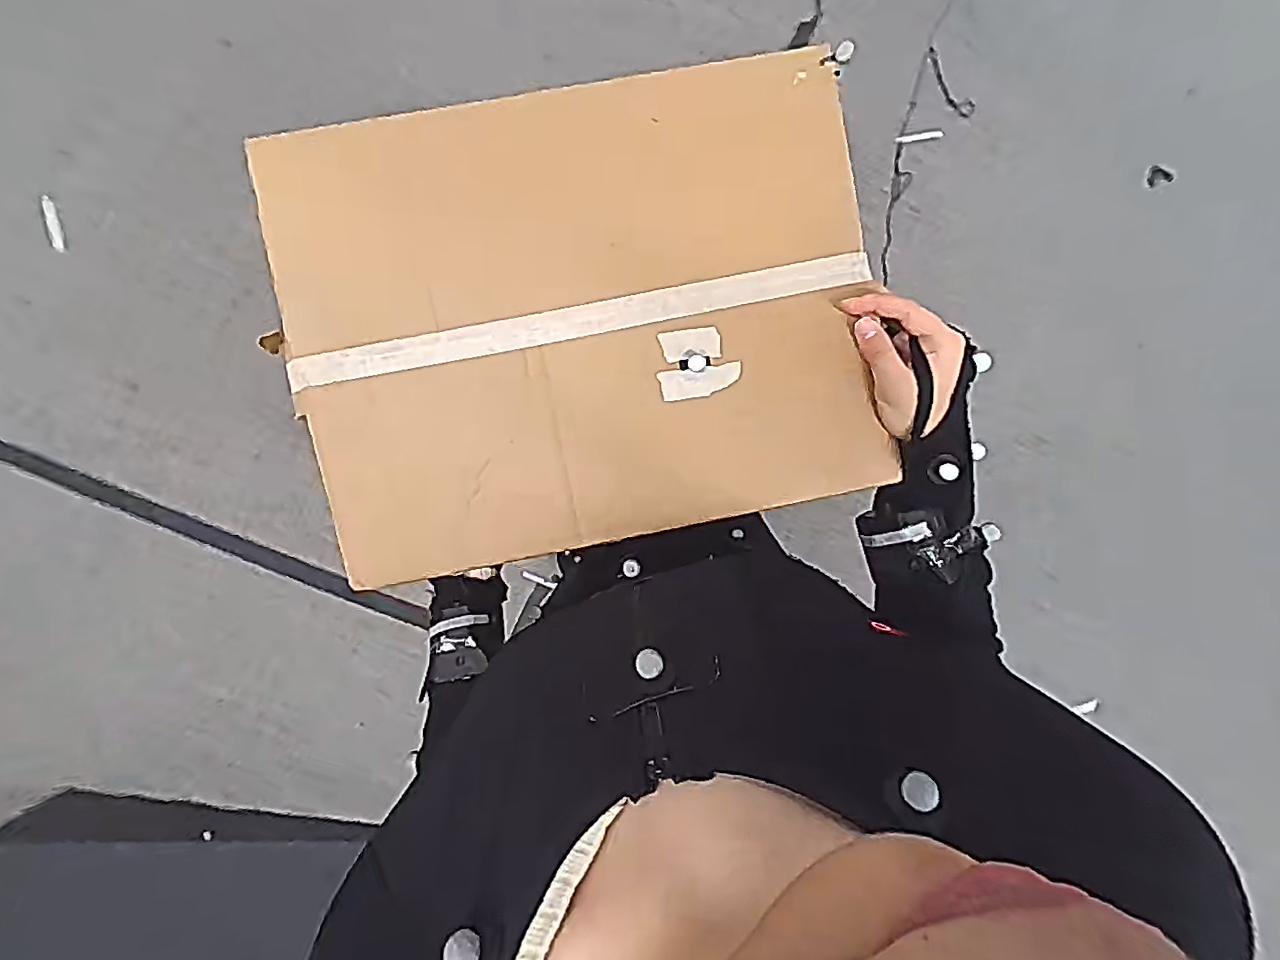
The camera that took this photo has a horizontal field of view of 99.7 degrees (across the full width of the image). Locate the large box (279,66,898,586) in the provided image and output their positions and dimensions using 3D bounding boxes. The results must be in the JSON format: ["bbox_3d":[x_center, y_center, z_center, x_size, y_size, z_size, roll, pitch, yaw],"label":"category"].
[{"bbox_3d":[-0.037,-0.118,0.537,0.408,0.320,0.320,-11,95,-4],"label":"large box"}]
